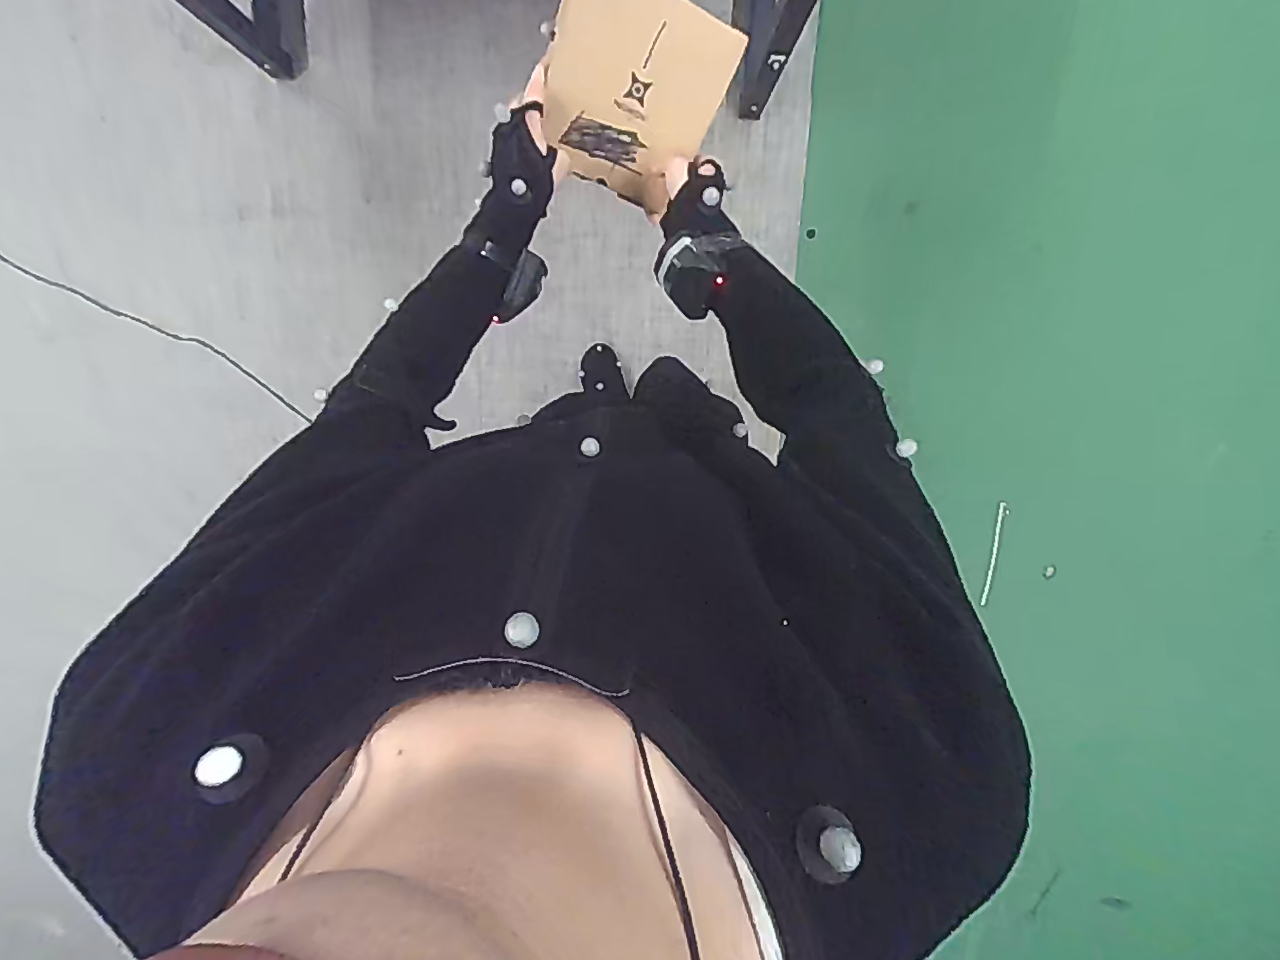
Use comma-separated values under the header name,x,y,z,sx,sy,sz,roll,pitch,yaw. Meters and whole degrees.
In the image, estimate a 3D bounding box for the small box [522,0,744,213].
name,x,y,z,sx,sy,sz,roll,pitch,yaw
small box,-0.017,-0.430,0.577,0.168,0.176,0.179,14,131,-22
